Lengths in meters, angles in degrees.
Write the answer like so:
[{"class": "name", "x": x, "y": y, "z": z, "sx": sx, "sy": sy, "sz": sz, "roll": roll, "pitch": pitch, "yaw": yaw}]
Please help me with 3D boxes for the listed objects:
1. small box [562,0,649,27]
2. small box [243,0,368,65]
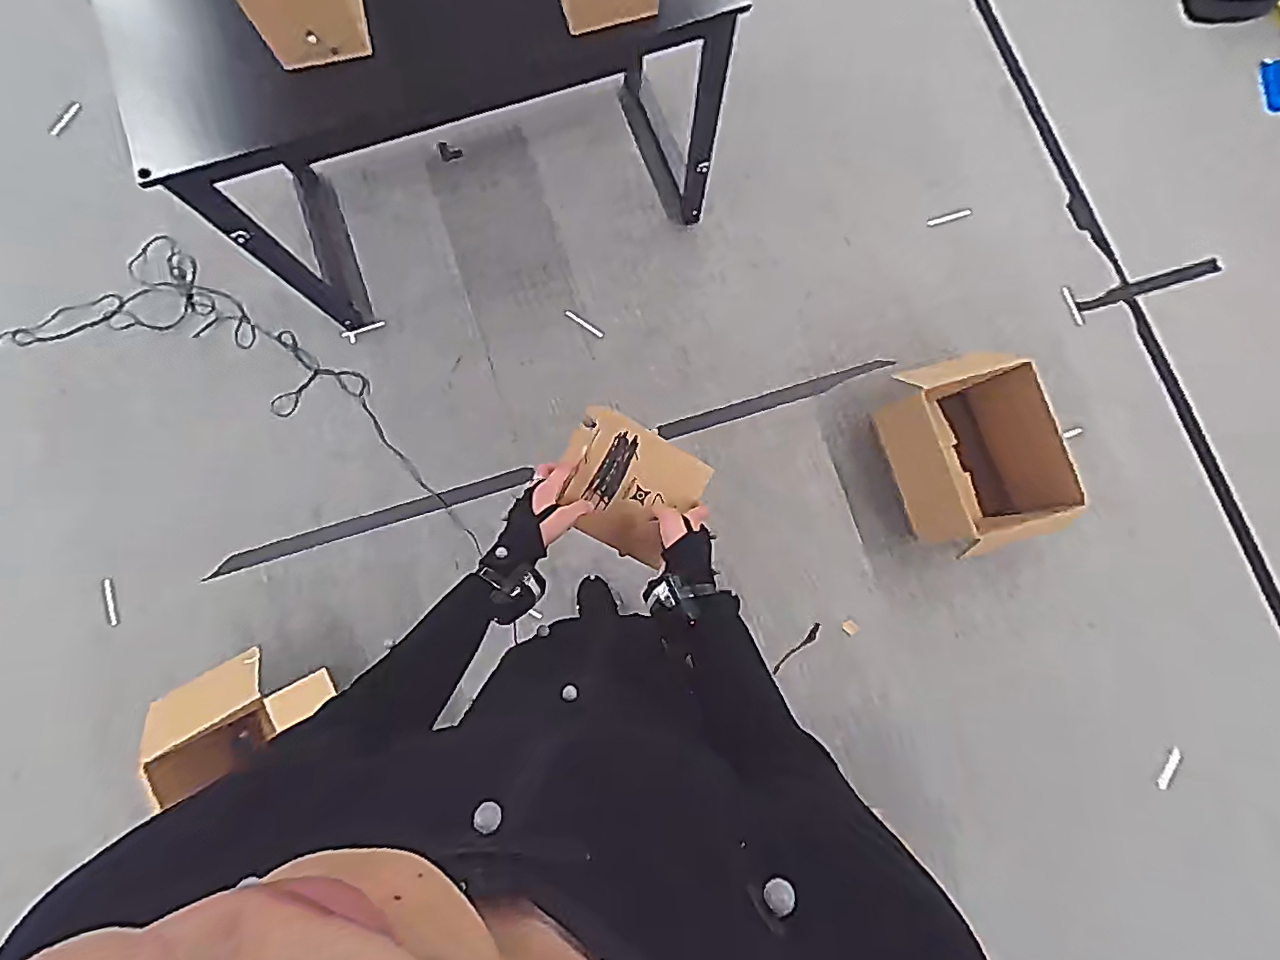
[{"class": "small box", "x": -0.070, "y": -0.971, "z": 0.965, "sx": 0.179, "sy": 0.176, "sz": 0.168, "roll": -17, "pitch": 82, "yaw": -1}, {"class": "small box", "x": -0.607, "y": -0.888, "z": 0.950, "sx": 0.168, "sy": 0.176, "sz": 0.179, "roll": -13, "pitch": 83, "yaw": -2}]
